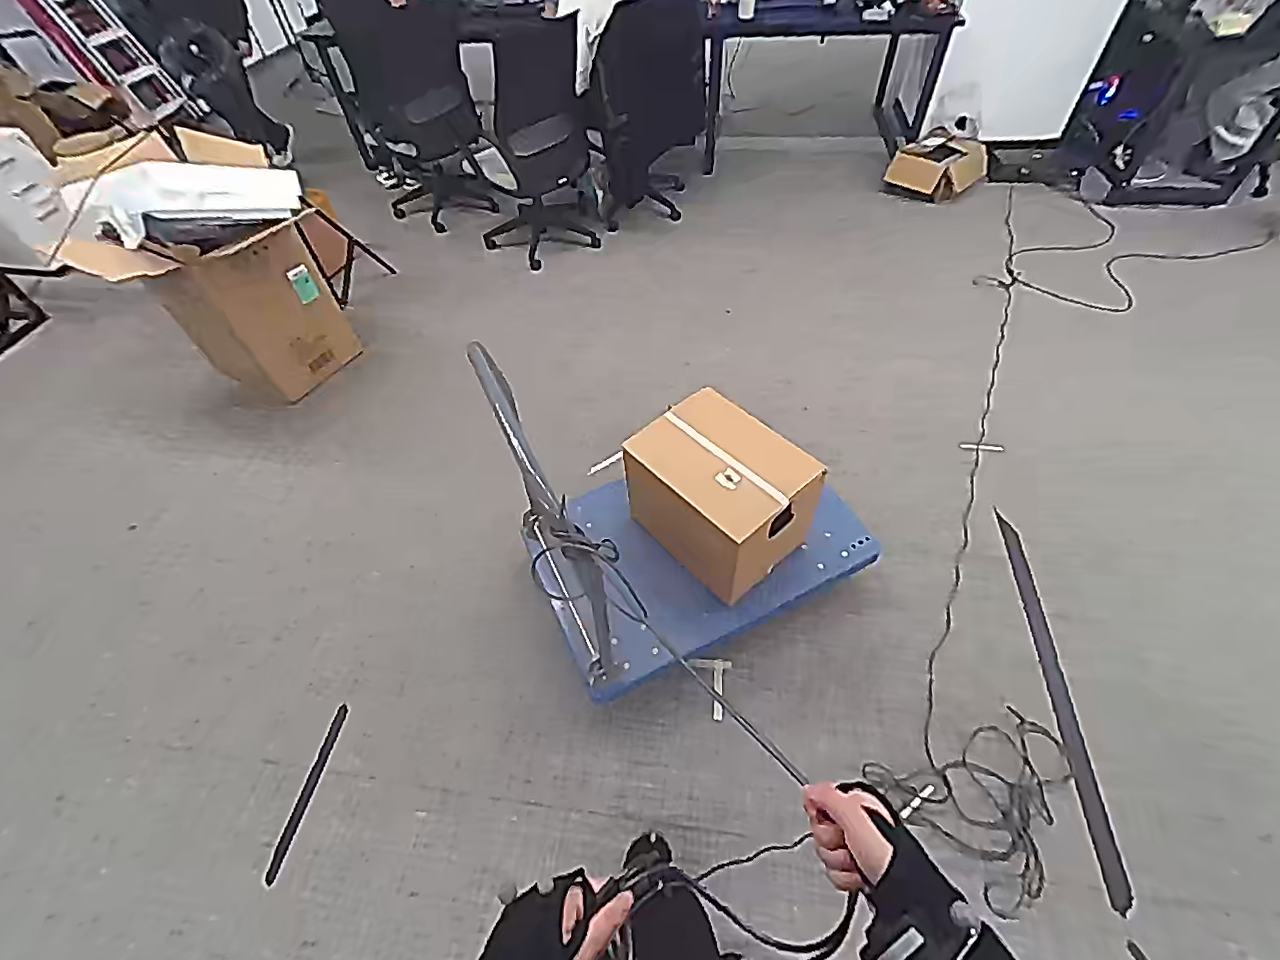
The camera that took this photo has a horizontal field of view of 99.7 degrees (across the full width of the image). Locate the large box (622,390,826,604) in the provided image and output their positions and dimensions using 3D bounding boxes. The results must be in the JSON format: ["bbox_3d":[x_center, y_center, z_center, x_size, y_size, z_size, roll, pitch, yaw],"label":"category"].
[{"bbox_3d":[0.201,0.039,1.422,0.320,0.320,0.408,-37,59,-22],"label":"large box"}]
